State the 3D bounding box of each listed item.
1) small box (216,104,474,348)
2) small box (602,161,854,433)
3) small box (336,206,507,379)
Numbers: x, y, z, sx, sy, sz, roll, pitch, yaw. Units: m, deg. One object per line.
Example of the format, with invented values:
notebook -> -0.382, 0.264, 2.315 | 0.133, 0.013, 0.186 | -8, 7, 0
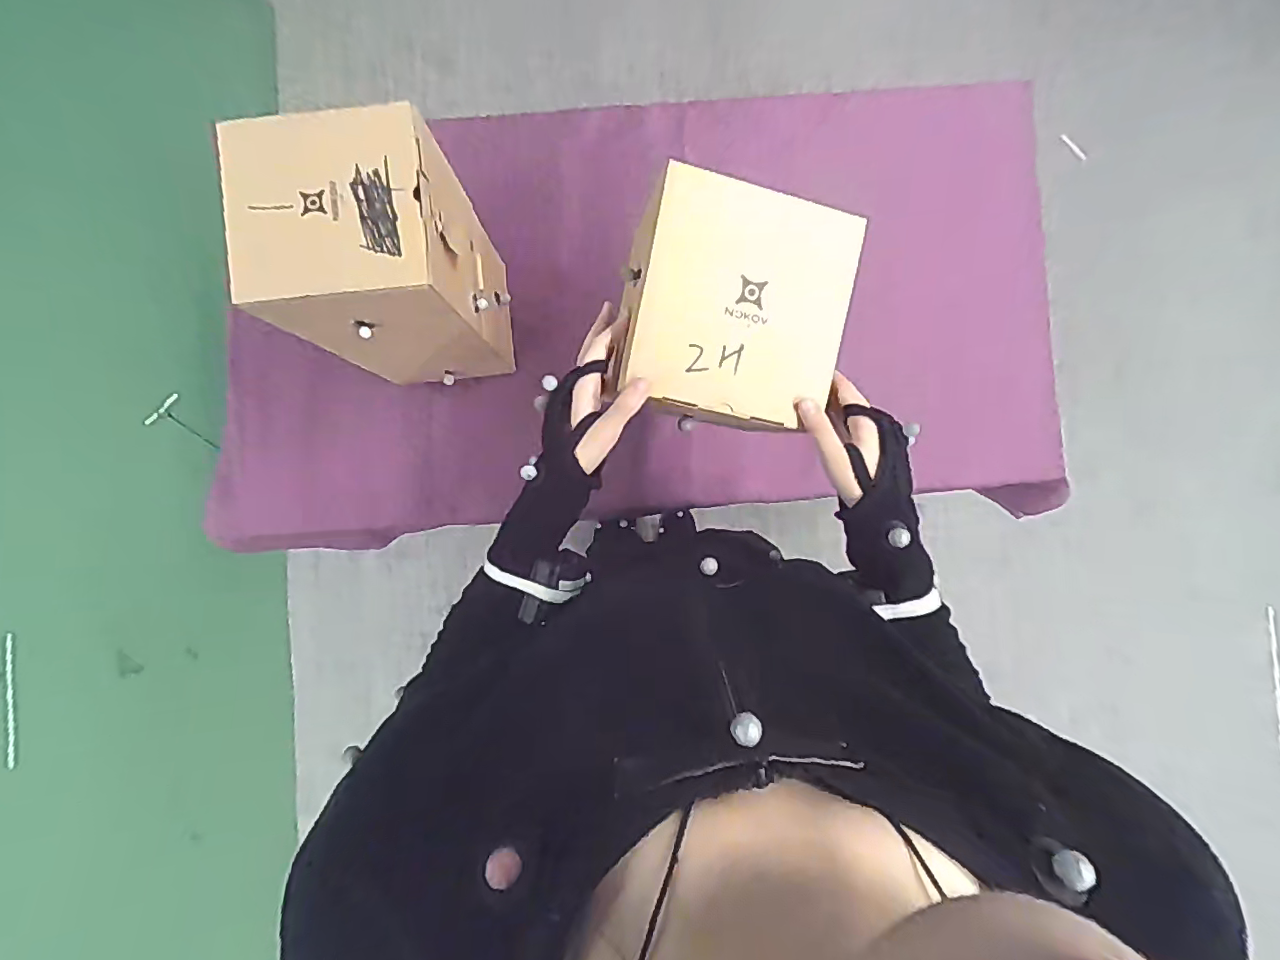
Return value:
small box -> -0.281, -0.242, 0.556 | 0.179, 0.176, 0.168 | -6, 89, 1
small box -> 0.063, -0.148, 0.502 | 0.168, 0.176, 0.179 | 12, 95, -10
small box -> -0.282, -0.238, 0.721 | 0.179, 0.176, 0.168 | -6, 88, -1
